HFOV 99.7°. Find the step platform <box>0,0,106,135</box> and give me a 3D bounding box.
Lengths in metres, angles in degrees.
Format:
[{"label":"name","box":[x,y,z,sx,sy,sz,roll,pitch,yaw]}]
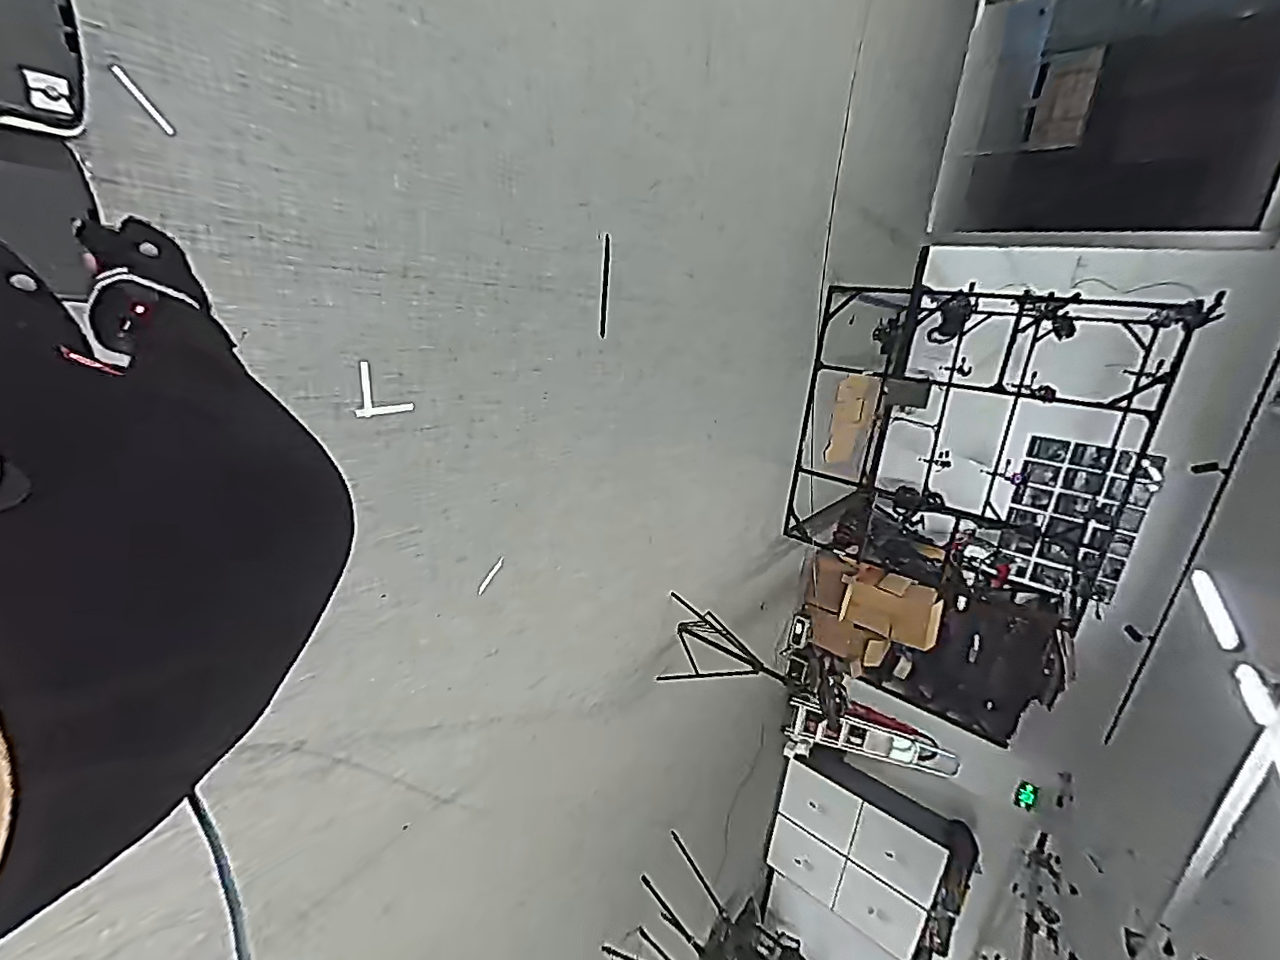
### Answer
[{"label":"step platform","box":[-1.161,-0.686,0.687,0.684,0.204,0.286,-19,120,-50]}]
